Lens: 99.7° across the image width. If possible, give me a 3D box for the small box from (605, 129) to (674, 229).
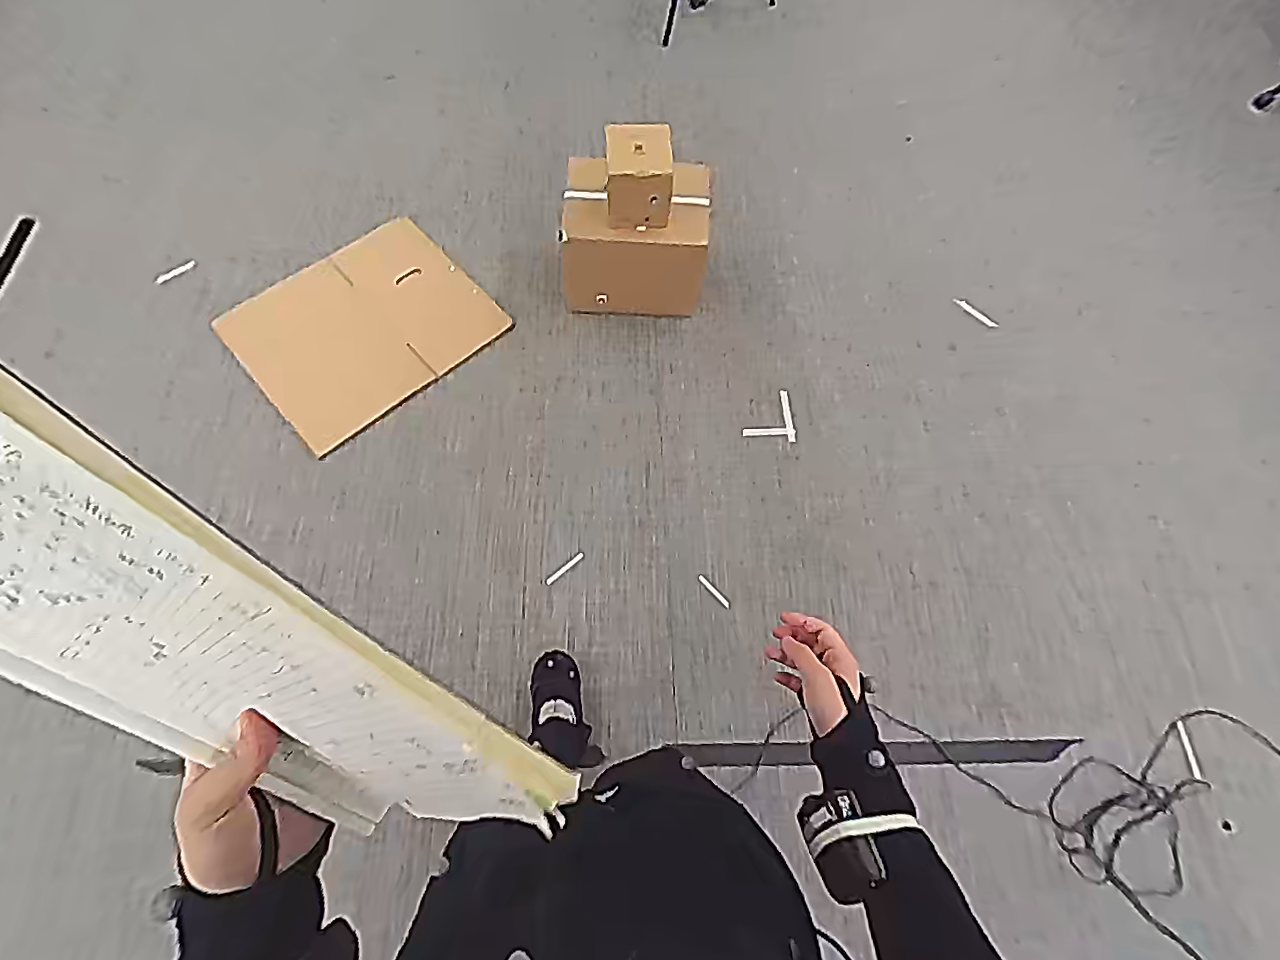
[{"bbox_3d":[-0.006,-0.786,1.423,0.168,0.176,0.179,-3,68,-5],"label":"small box"}]
